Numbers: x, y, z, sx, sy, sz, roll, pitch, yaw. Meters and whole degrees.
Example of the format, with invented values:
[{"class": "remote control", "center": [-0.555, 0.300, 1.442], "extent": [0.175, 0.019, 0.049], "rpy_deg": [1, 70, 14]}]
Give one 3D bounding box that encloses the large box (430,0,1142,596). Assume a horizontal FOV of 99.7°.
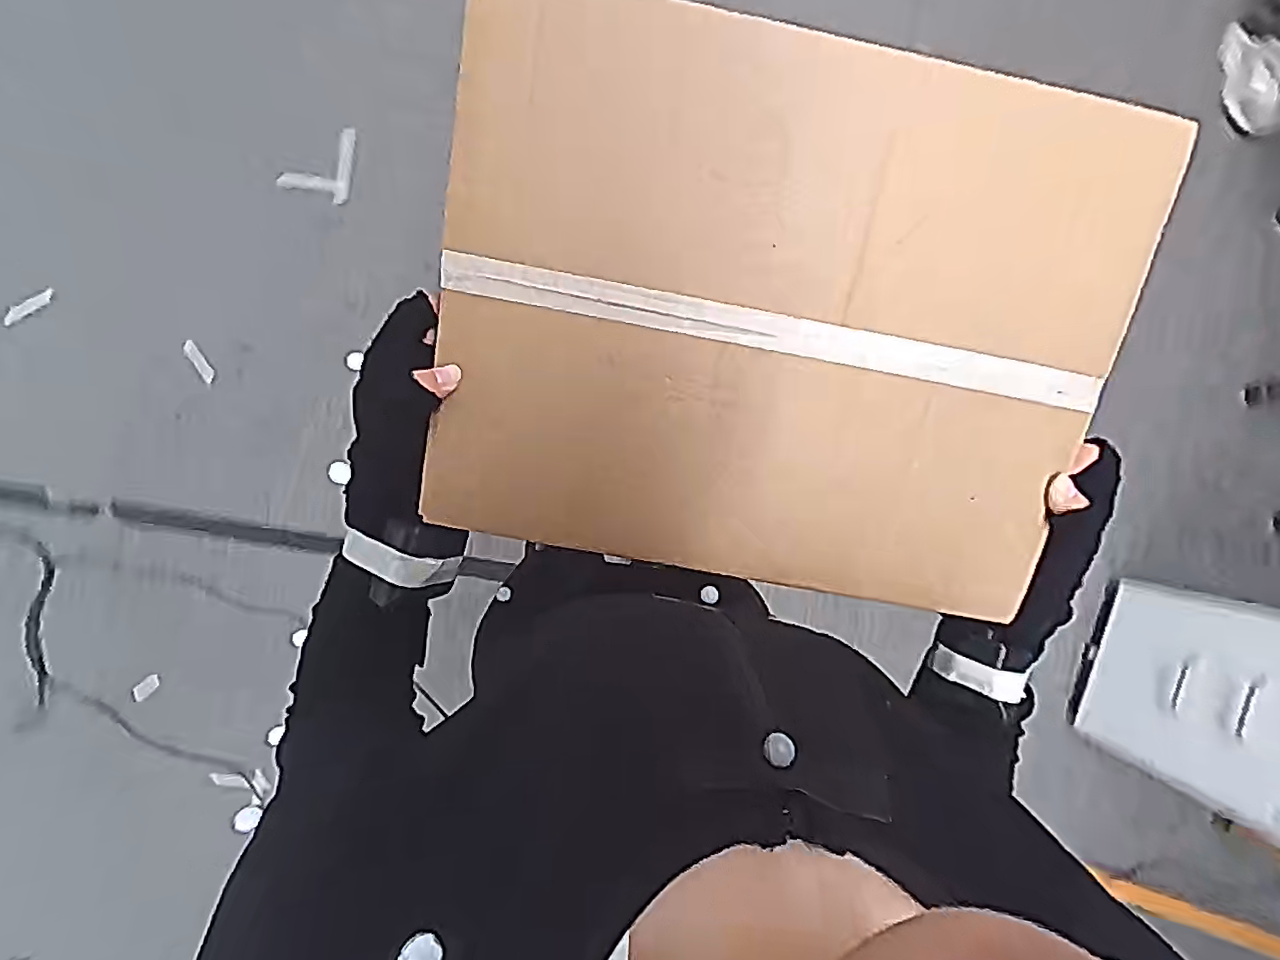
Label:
[{"class": "large box", "center": [0.071, -0.123, 0.480], "extent": [0.408, 0.320, 0.320], "rpy_deg": [8, 104, -4]}]
